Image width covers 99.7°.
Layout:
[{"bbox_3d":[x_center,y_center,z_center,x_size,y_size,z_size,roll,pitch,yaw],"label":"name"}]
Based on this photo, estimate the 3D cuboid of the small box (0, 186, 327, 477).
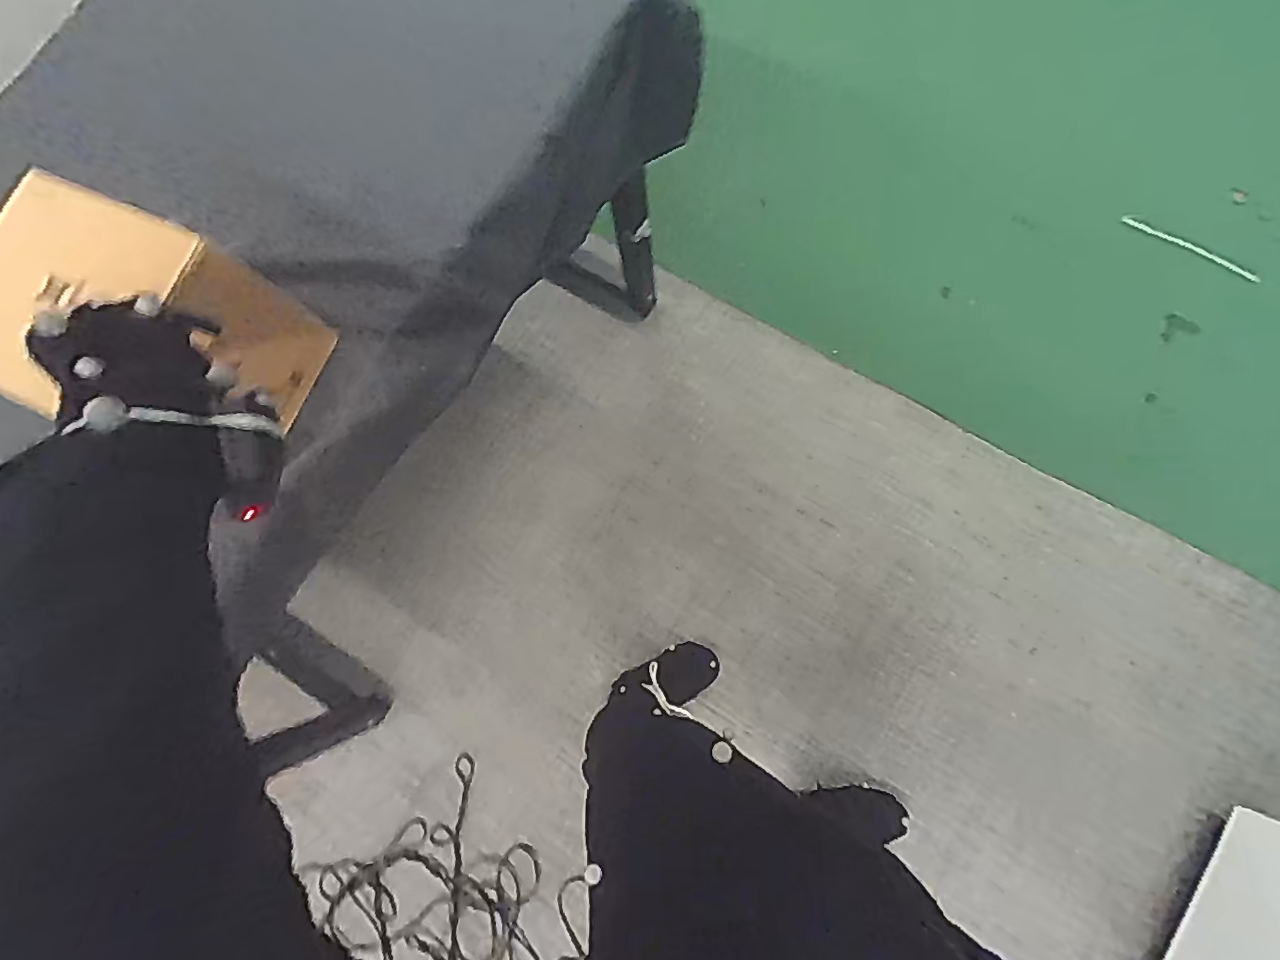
[{"bbox_3d":[-0.436,-0.115,0.484,0.179,0.176,0.168,22,82,8],"label":"small box"}]
